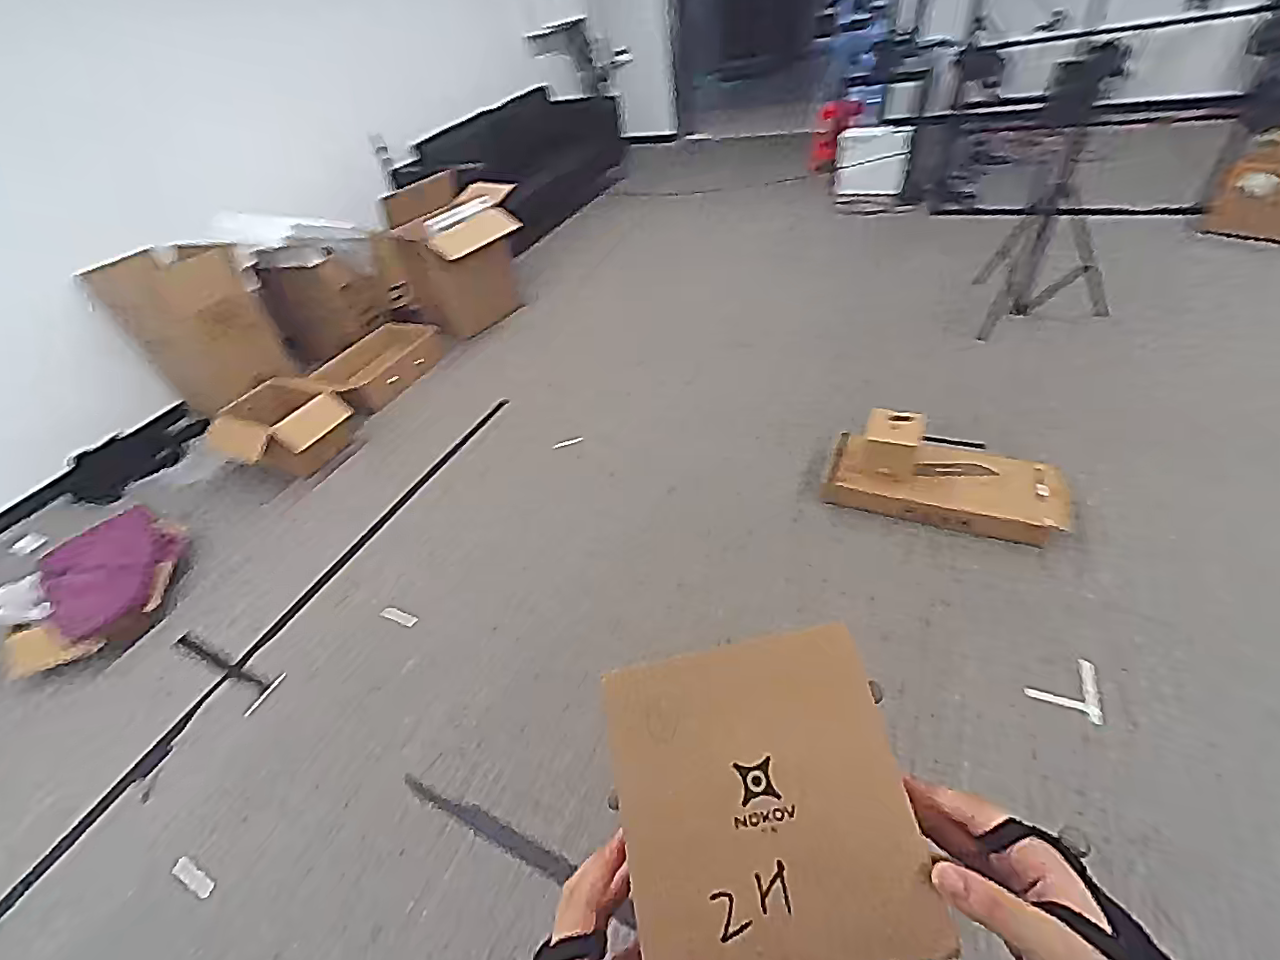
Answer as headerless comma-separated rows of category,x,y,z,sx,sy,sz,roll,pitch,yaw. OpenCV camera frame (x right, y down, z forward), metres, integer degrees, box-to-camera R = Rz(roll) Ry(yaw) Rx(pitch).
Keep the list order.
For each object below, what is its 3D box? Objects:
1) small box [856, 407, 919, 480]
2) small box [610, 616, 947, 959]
small box,0.863,-0.128,1.894,0.168,0.176,0.179,12,48,22
small box,0.081,0.217,0.398,0.168,0.176,0.179,-13,64,4
